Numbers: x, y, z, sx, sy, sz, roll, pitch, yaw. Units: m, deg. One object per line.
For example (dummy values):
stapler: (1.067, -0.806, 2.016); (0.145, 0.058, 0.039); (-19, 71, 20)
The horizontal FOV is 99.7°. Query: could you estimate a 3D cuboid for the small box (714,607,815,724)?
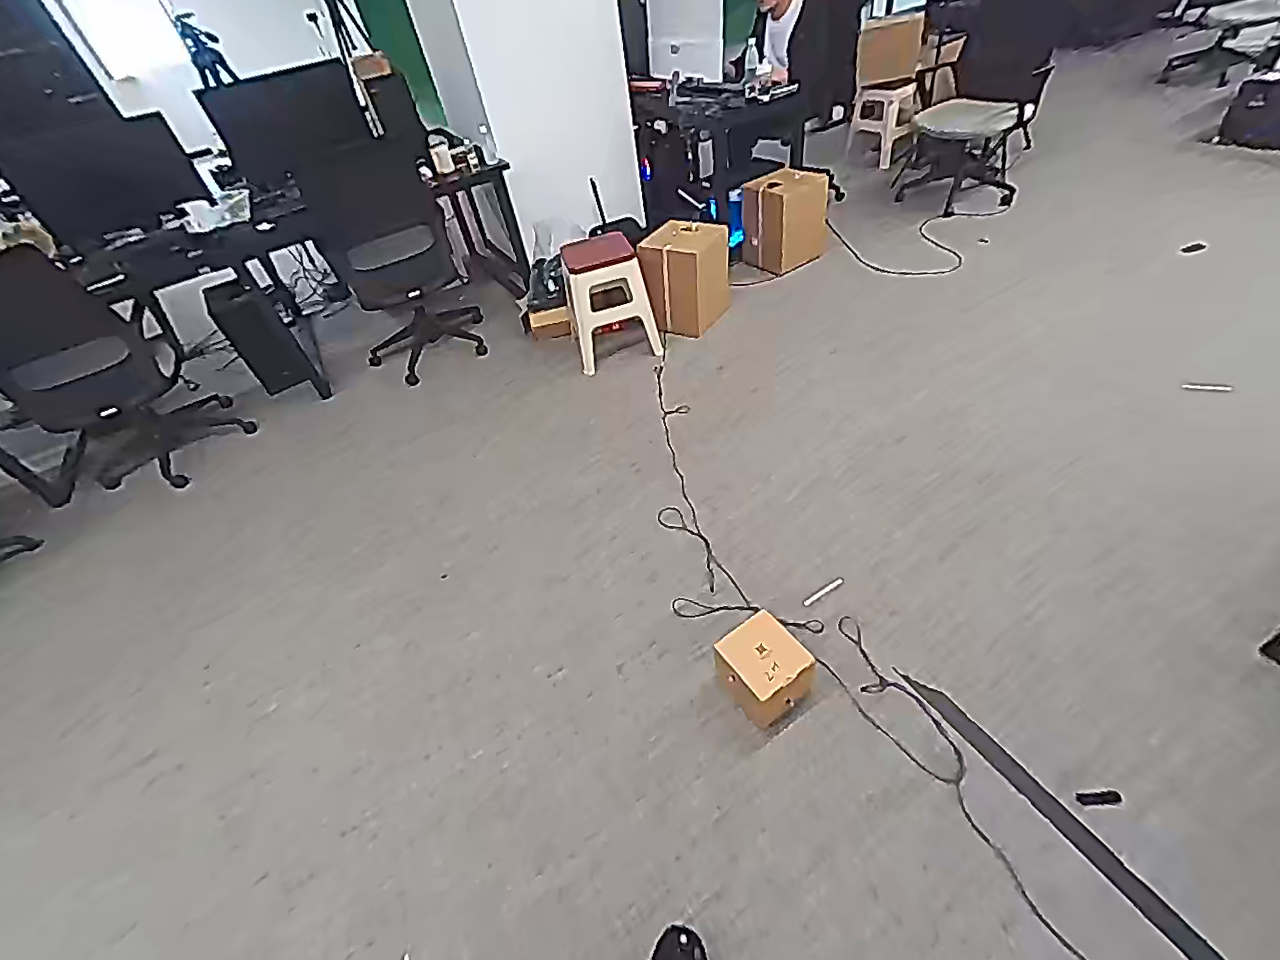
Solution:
small box: (0.298, 0.452, 1.315); (0.168, 0.176, 0.179); (-31, 48, -17)
